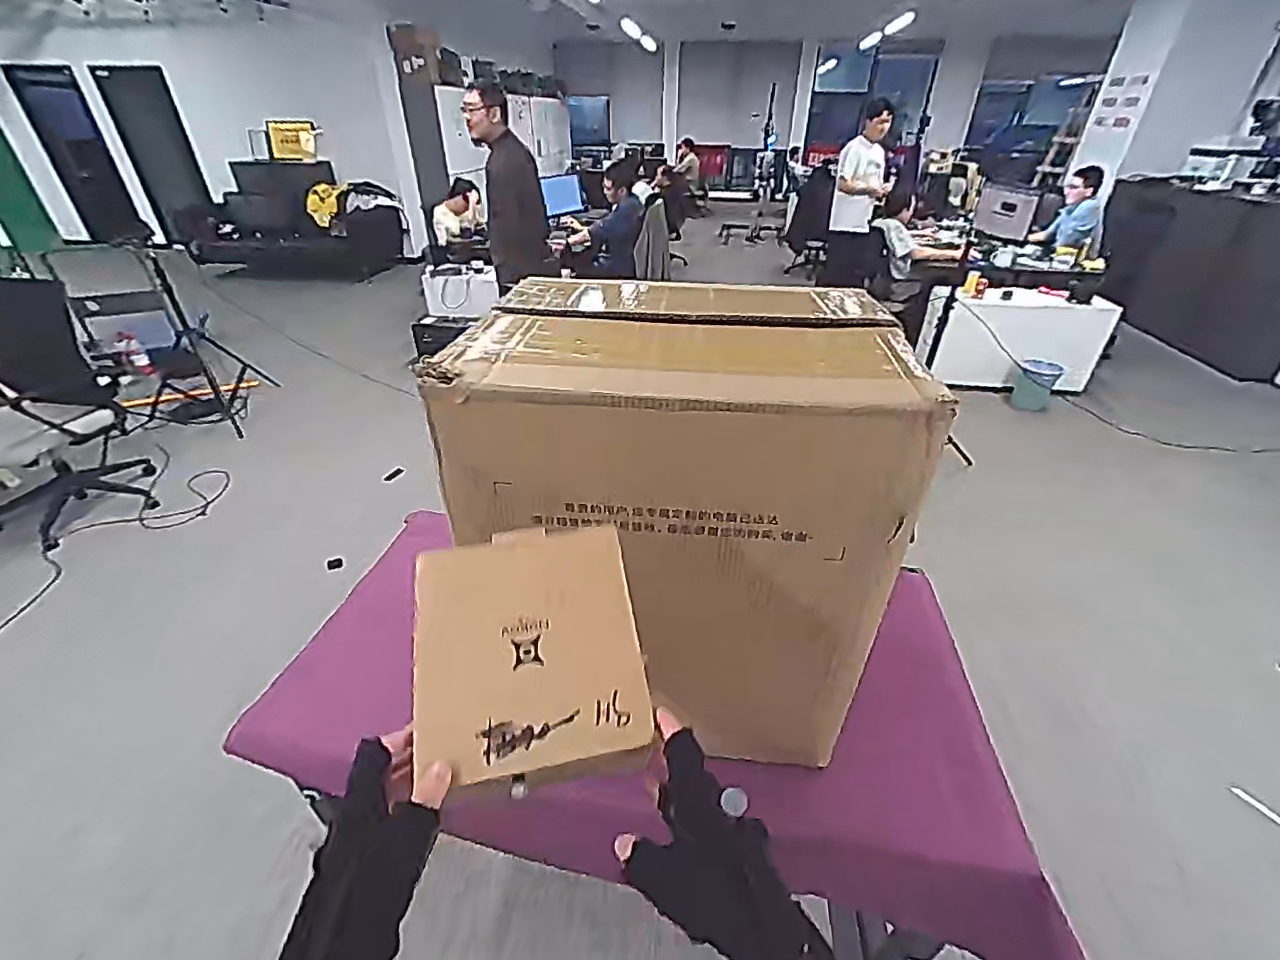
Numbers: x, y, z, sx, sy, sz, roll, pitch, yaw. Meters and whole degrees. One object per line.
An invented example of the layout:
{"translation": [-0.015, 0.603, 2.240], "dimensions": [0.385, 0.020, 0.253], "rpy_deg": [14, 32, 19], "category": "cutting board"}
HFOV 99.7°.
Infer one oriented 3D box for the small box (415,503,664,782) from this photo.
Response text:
{"translation": [-0.082, 0.143, 0.464], "dimensions": [0.168, 0.176, 0.179], "rpy_deg": [-9, 60, -8], "category": "small box"}
